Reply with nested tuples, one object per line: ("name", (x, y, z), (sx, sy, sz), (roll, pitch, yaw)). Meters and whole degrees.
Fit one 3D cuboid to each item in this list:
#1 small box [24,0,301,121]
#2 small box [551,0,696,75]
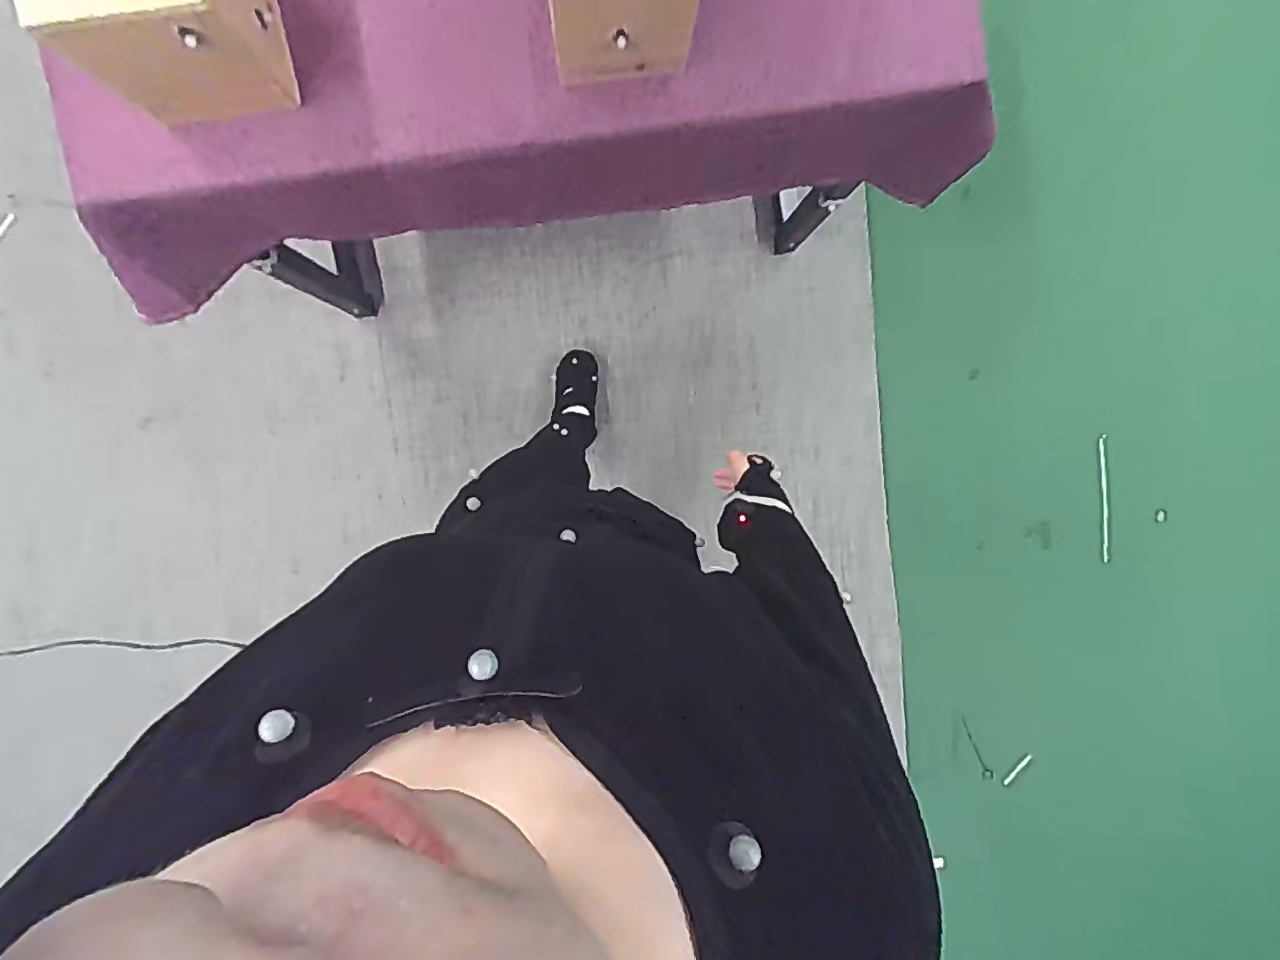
("small box", (-0.524, -0.536, 0.602), (0.179, 0.176, 0.168), (-11, 94, -3))
("small box", (-0.026, -0.606, 0.625), (0.168, 0.176, 0.179), (-8, 94, -3))
